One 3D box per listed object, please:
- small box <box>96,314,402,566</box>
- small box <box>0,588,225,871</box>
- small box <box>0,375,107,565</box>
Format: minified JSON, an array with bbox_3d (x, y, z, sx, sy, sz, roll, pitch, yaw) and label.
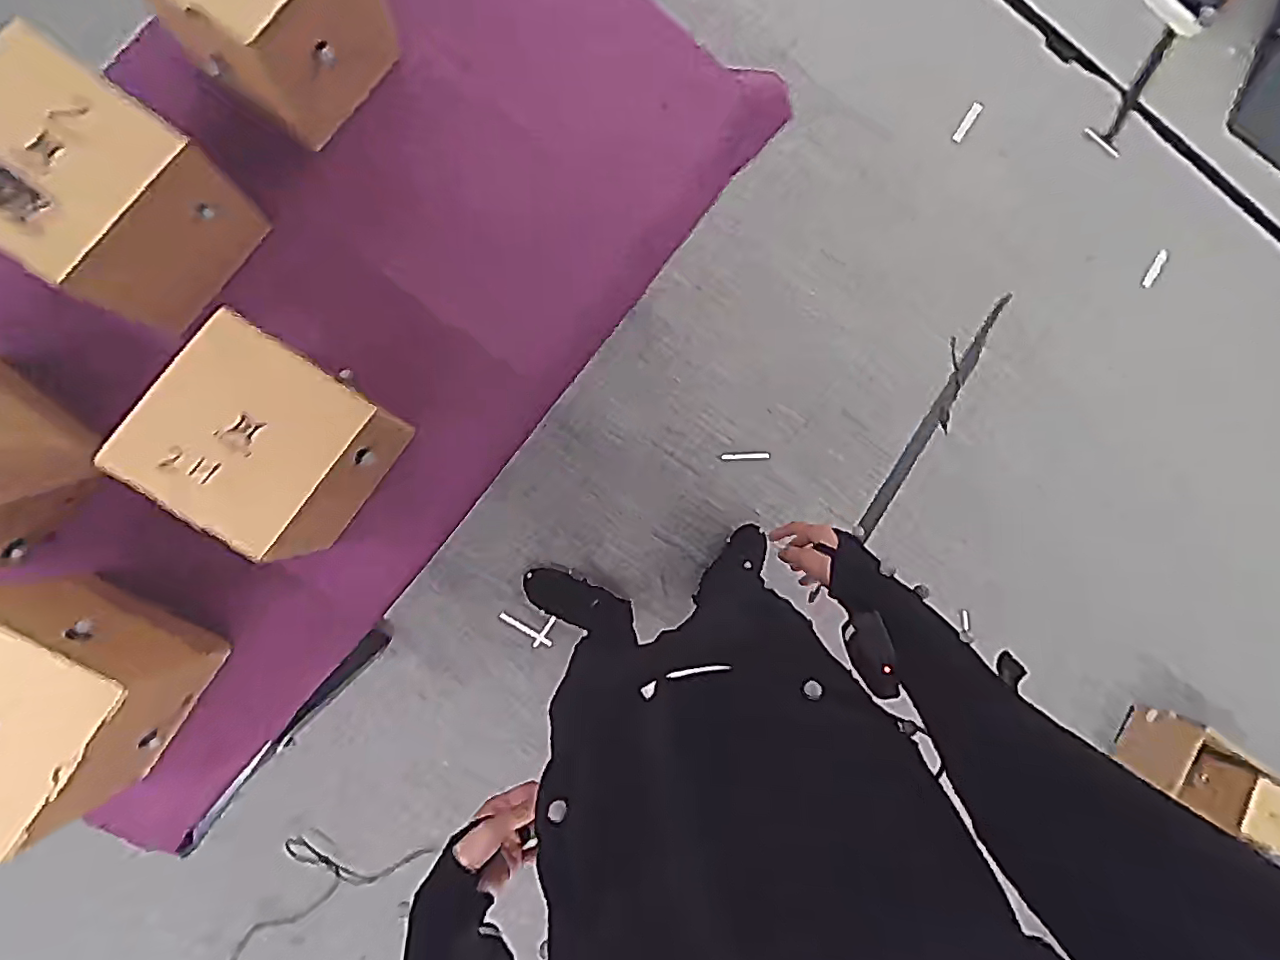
[{"bbox_3d":[-0.378,-0.035,0.570,0.168,0.176,0.179,35,83,-7],"label":"small box"},{"bbox_3d":[-0.572,0.219,0.527,0.179,0.176,0.168,31,81,-8],"label":"small box"},{"bbox_3d":[-0.691,-0.014,0.517,0.179,0.176,0.168,40,82,-6],"label":"small box"}]
